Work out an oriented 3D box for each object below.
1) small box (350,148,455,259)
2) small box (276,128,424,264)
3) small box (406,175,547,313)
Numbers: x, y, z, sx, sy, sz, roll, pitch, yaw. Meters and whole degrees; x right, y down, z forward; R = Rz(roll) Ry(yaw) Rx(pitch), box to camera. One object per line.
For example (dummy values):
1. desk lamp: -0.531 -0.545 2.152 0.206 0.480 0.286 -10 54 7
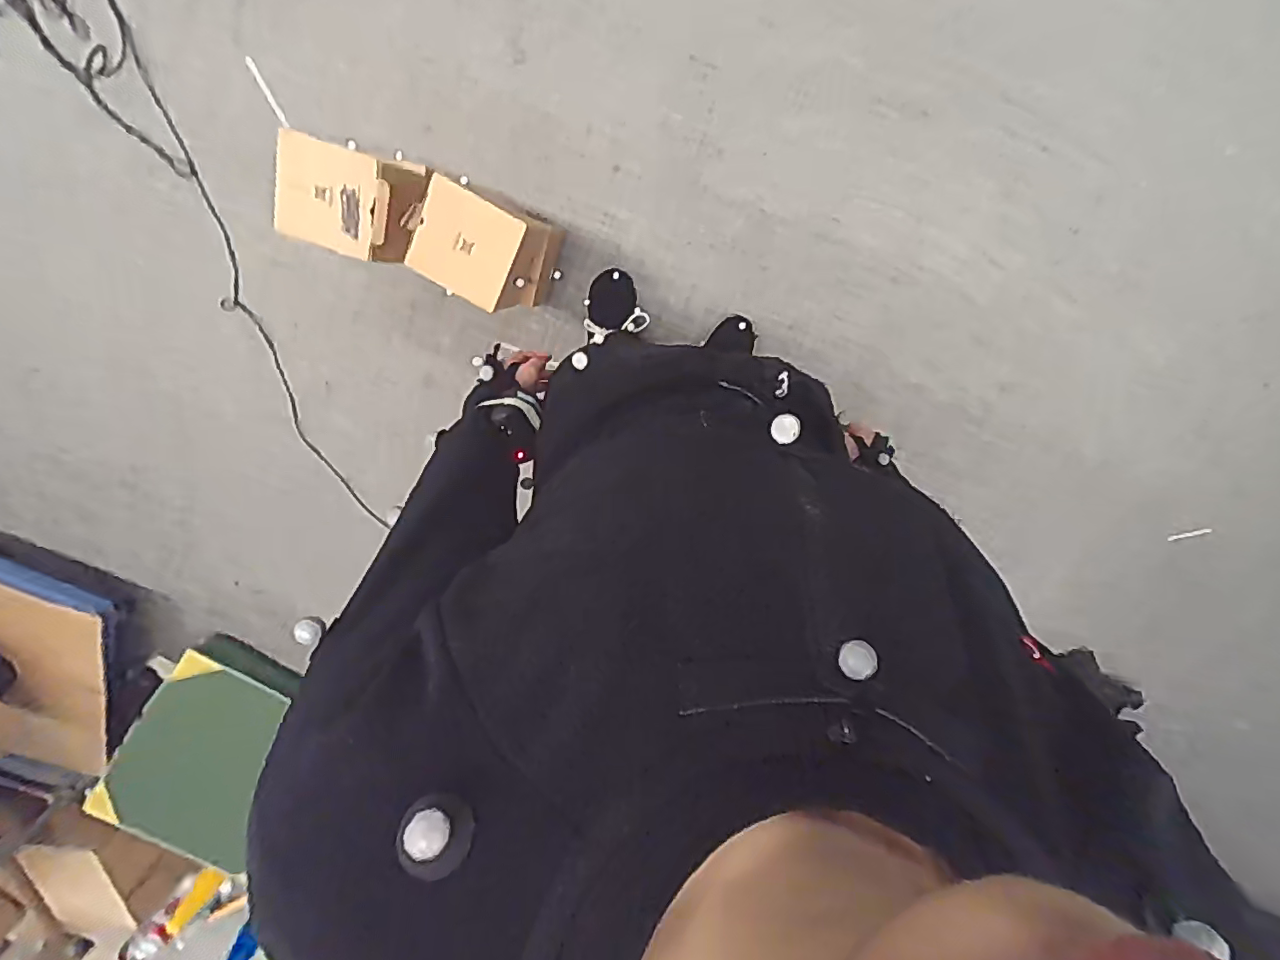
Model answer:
1. small box: -0.495 -0.568 1.140 0.168 0.176 0.179 13 112 0
2. small box: -0.520 -0.507 0.987 0.179 0.176 0.168 19 111 -2
3. small box: -0.292 -0.434 1.003 0.179 0.176 0.168 28 112 -6
